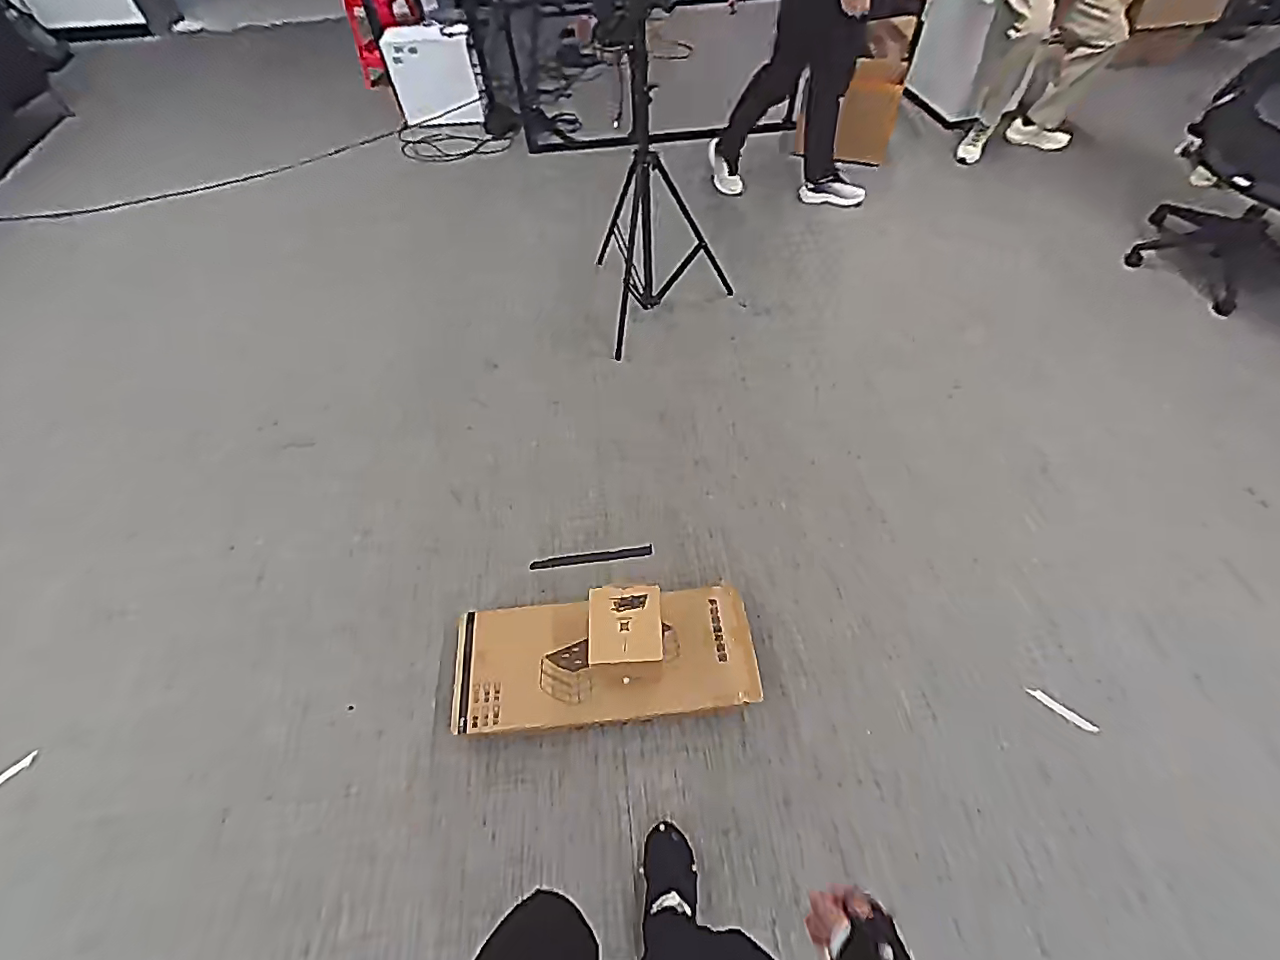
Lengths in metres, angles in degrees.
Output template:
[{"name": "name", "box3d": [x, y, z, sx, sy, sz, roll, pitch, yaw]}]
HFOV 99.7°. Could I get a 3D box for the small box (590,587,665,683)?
[{"name": "small box", "box3d": [-0.028, 0.371, 1.287, 0.168, 0.176, 0.179, -3, 57, 1]}]
